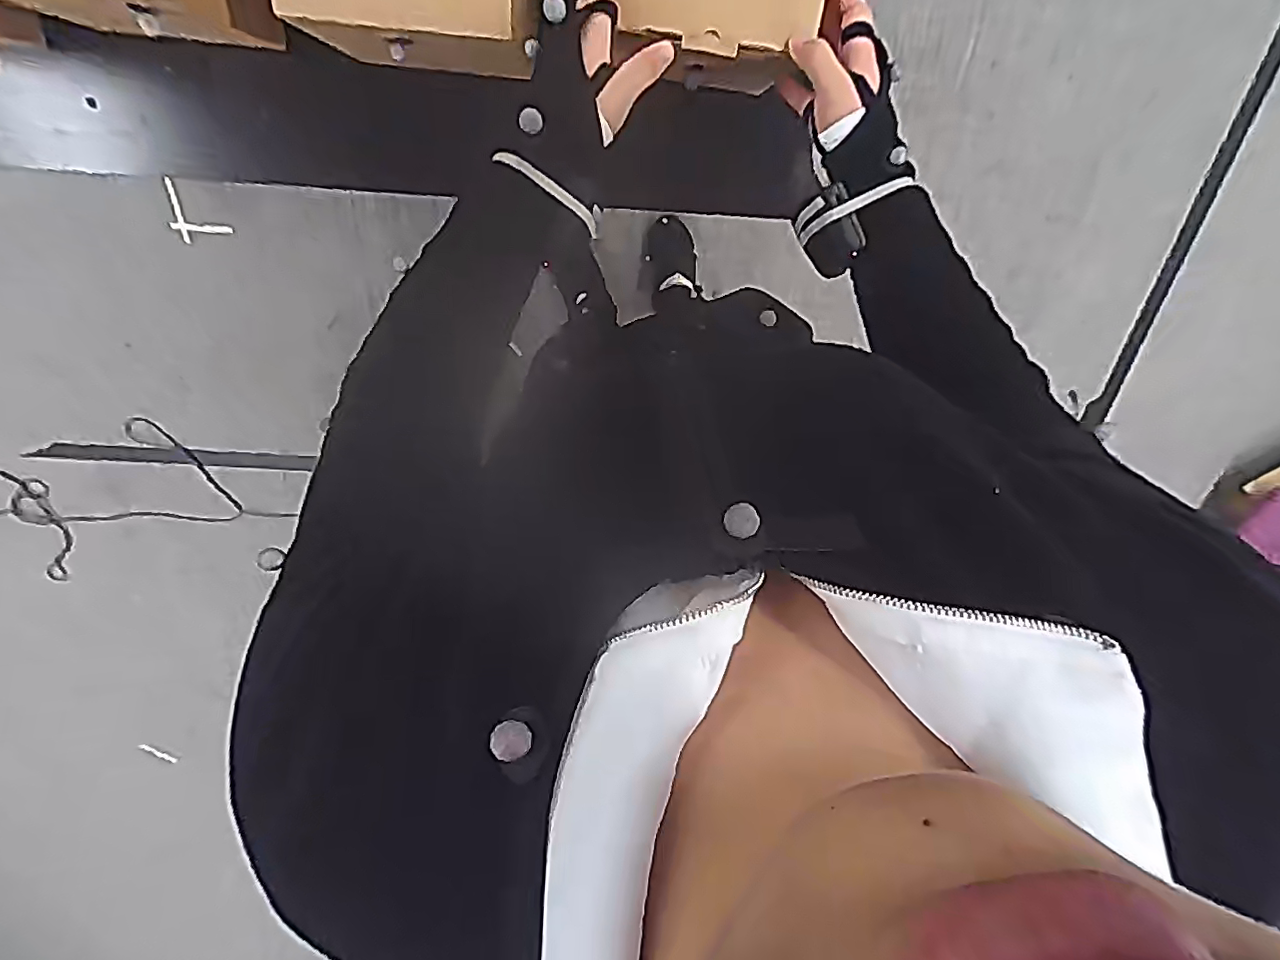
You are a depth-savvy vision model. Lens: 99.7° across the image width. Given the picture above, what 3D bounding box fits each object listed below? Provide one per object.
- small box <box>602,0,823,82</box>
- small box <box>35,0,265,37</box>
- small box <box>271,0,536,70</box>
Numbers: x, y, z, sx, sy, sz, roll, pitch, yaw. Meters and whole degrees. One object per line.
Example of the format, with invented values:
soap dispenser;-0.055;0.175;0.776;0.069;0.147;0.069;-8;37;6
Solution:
small box;0.060;-0.449;0.440;0.168;0.176;0.179;4;119;-6
small box;-0.420;-0.460;0.406;0.179;0.176;0.168;3;118;-5
small box;-0.180;-0.447;0.429;0.179;0.176;0.168;2;119;-5
